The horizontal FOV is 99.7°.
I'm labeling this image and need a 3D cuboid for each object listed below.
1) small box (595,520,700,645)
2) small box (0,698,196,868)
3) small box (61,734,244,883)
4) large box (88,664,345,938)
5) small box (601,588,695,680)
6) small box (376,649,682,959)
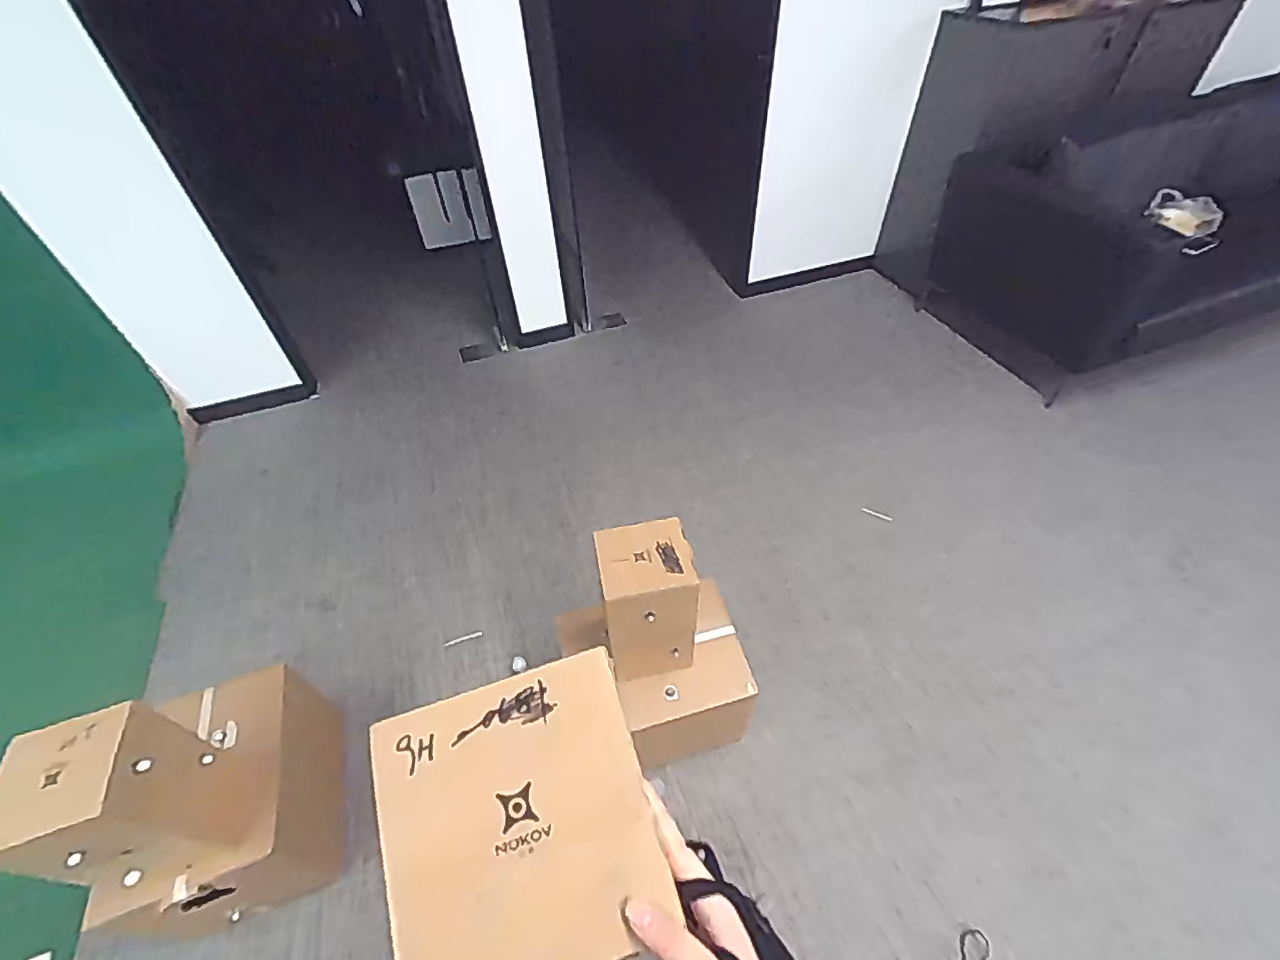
[{"bbox_3d":[0.012,0.205,1.074,0.179,0.176,0.168,-9,45,-5],"label":"small box"},{"bbox_3d":[-0.852,0.482,0.854,0.168,0.176,0.179,-15,48,-12],"label":"small box"},{"bbox_3d":[-0.855,0.596,0.975,0.168,0.176,0.179,-15,48,-12],"label":"small box"},{"bbox_3d":[-0.889,0.705,1.207,0.320,0.320,0.408,-17,48,-13],"label":"large box"},{"bbox_3d":[0.015,0.318,1.193,0.179,0.176,0.168,-10,45,-6],"label":"small box"},{"bbox_3d":[-0.077,0.247,0.417,0.168,0.176,0.179,-16,68,-9],"label":"small box"}]
